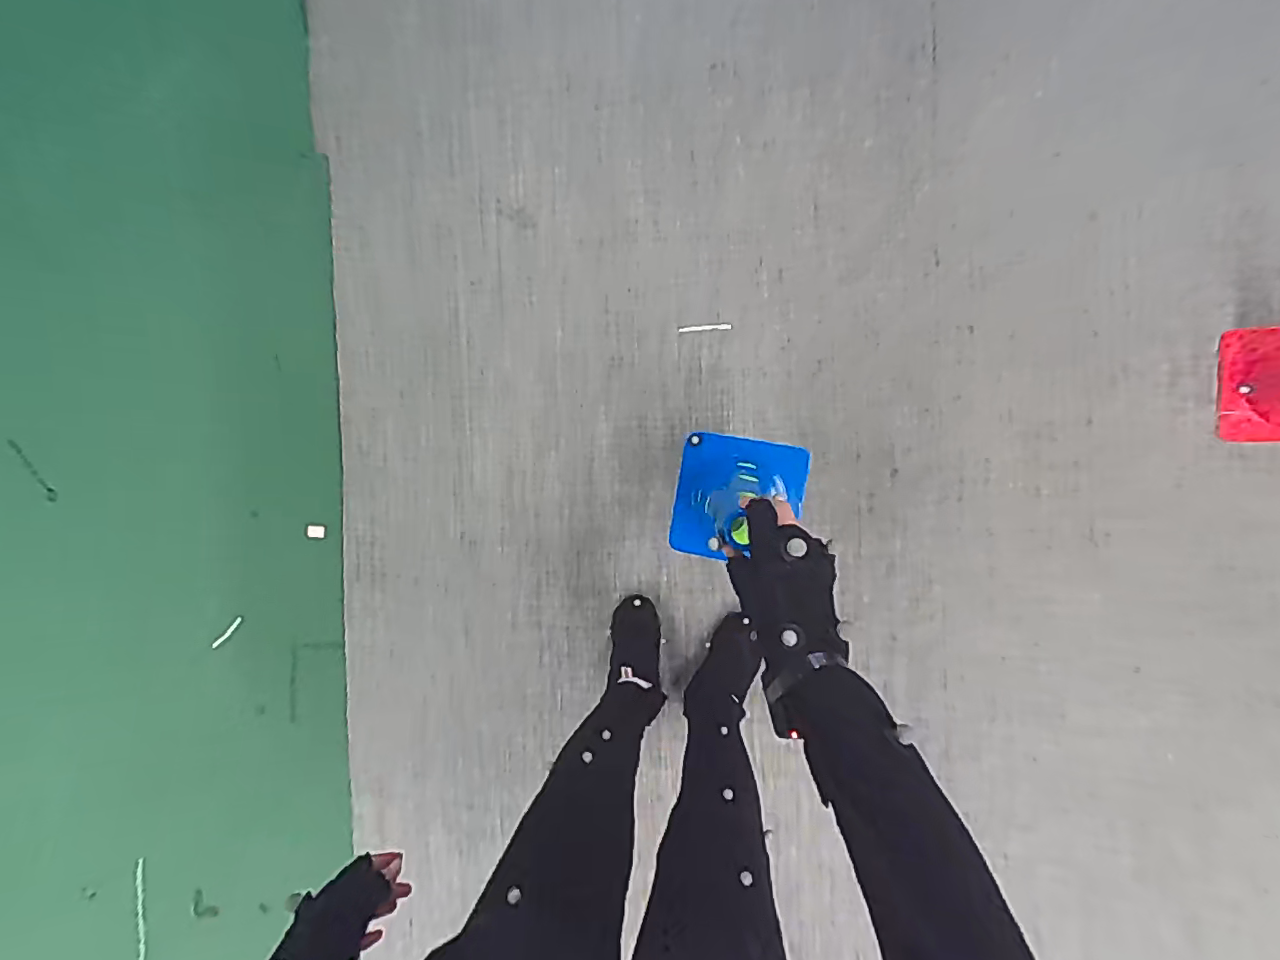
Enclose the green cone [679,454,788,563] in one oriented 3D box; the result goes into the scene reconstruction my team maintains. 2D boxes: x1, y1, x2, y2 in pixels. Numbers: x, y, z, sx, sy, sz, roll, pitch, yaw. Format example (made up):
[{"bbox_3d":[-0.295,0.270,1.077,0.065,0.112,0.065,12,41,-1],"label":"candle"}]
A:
[{"bbox_3d":[0.163,0.062,0.960,0.202,0.368,0.200,12,93,10],"label":"green cone"}]
